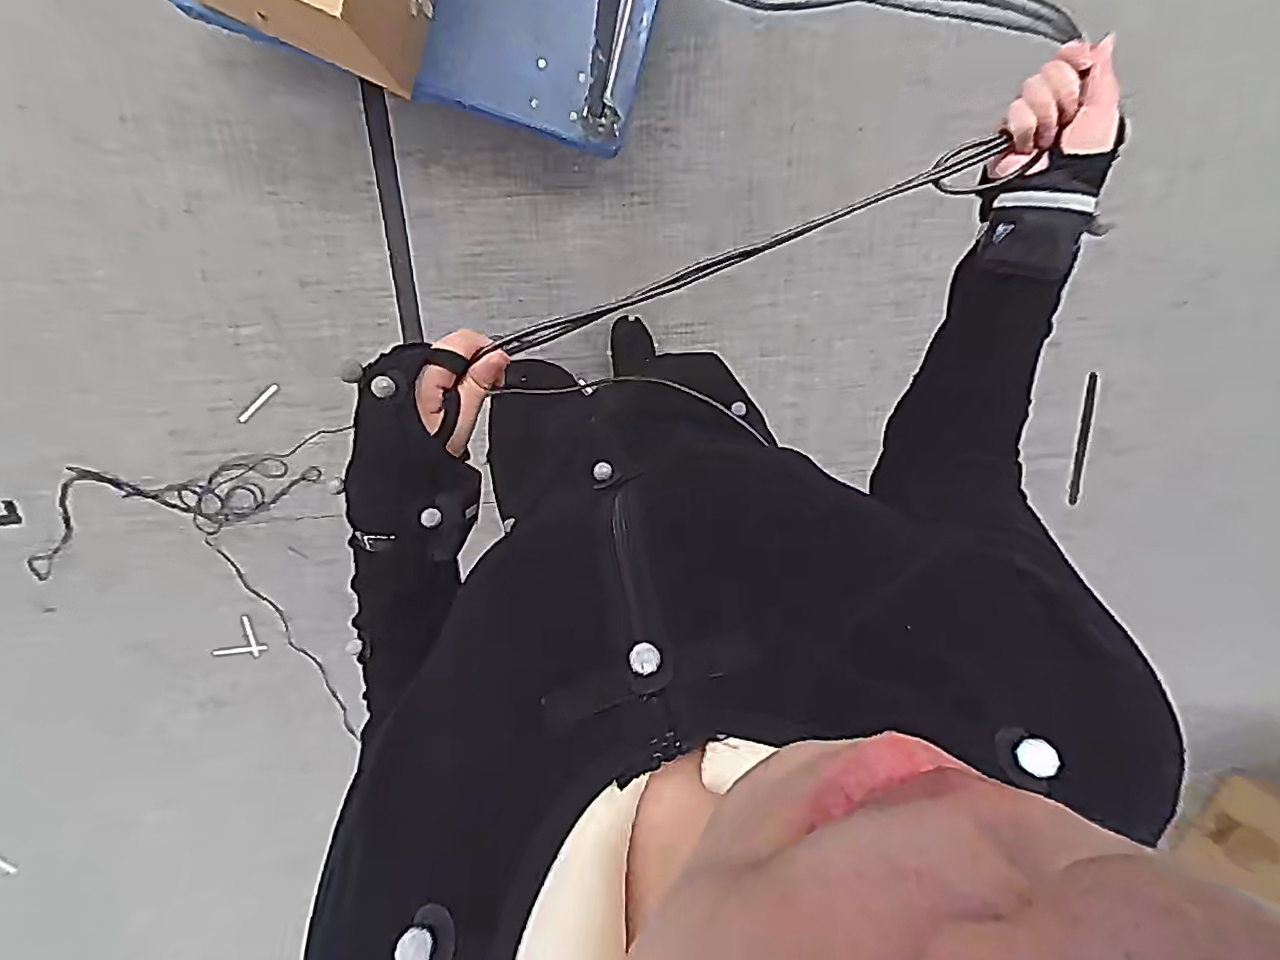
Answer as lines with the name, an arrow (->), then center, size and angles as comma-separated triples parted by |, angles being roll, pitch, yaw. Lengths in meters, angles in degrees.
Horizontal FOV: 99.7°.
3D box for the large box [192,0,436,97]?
large box -> -0.559, -0.893, 0.842 | 0.408, 0.320, 0.320 | 20, 104, -9
